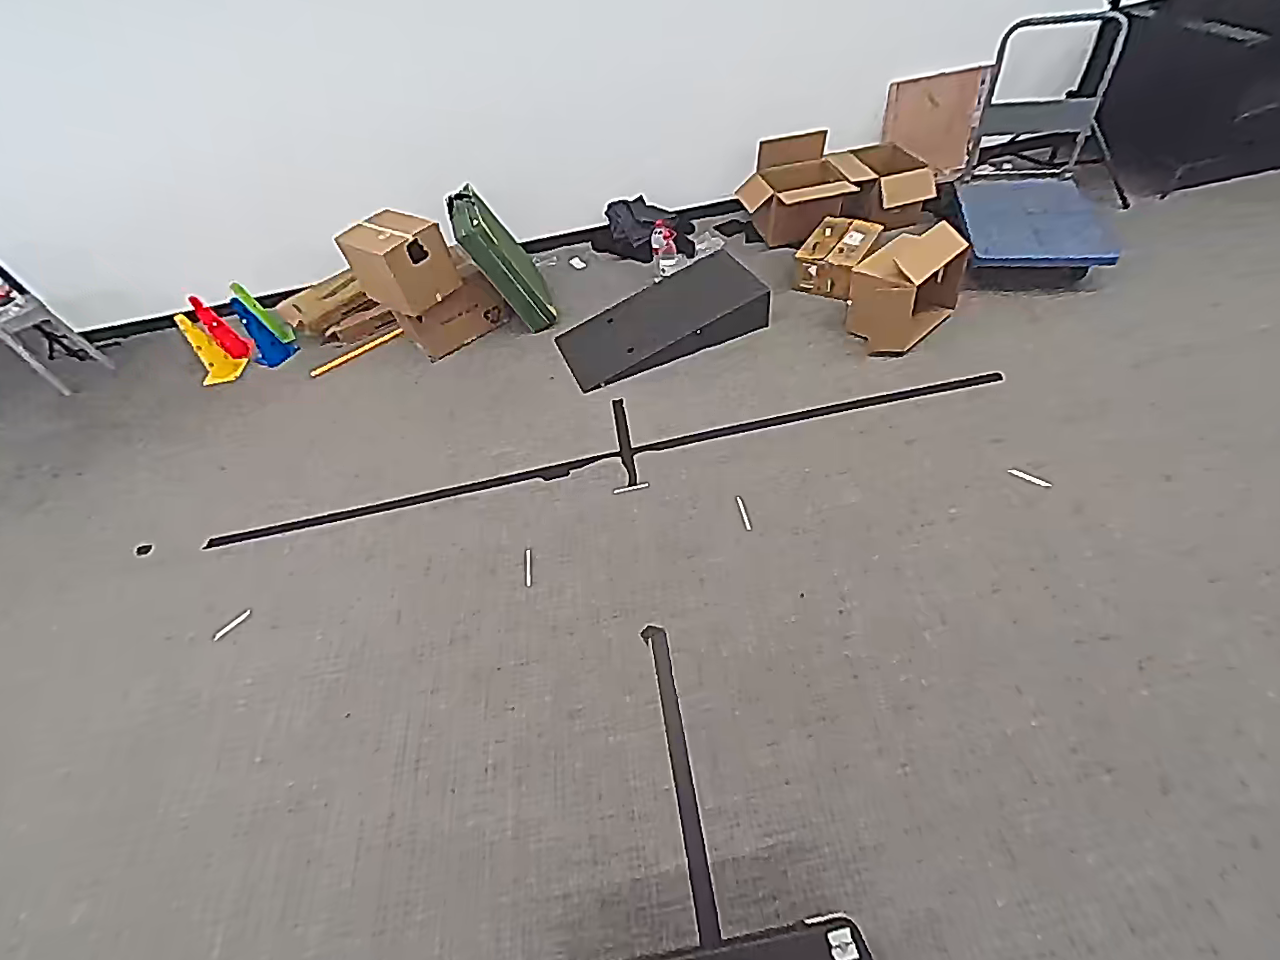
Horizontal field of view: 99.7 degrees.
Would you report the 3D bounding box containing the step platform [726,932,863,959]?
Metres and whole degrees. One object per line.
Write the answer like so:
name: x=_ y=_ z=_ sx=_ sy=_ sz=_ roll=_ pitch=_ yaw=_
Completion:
step platform: x=0.146 y=1.125 z=1.047 sx=0.684 sy=0.204 sz=0.286 roll=-12 pitch=50 yaw=-2
